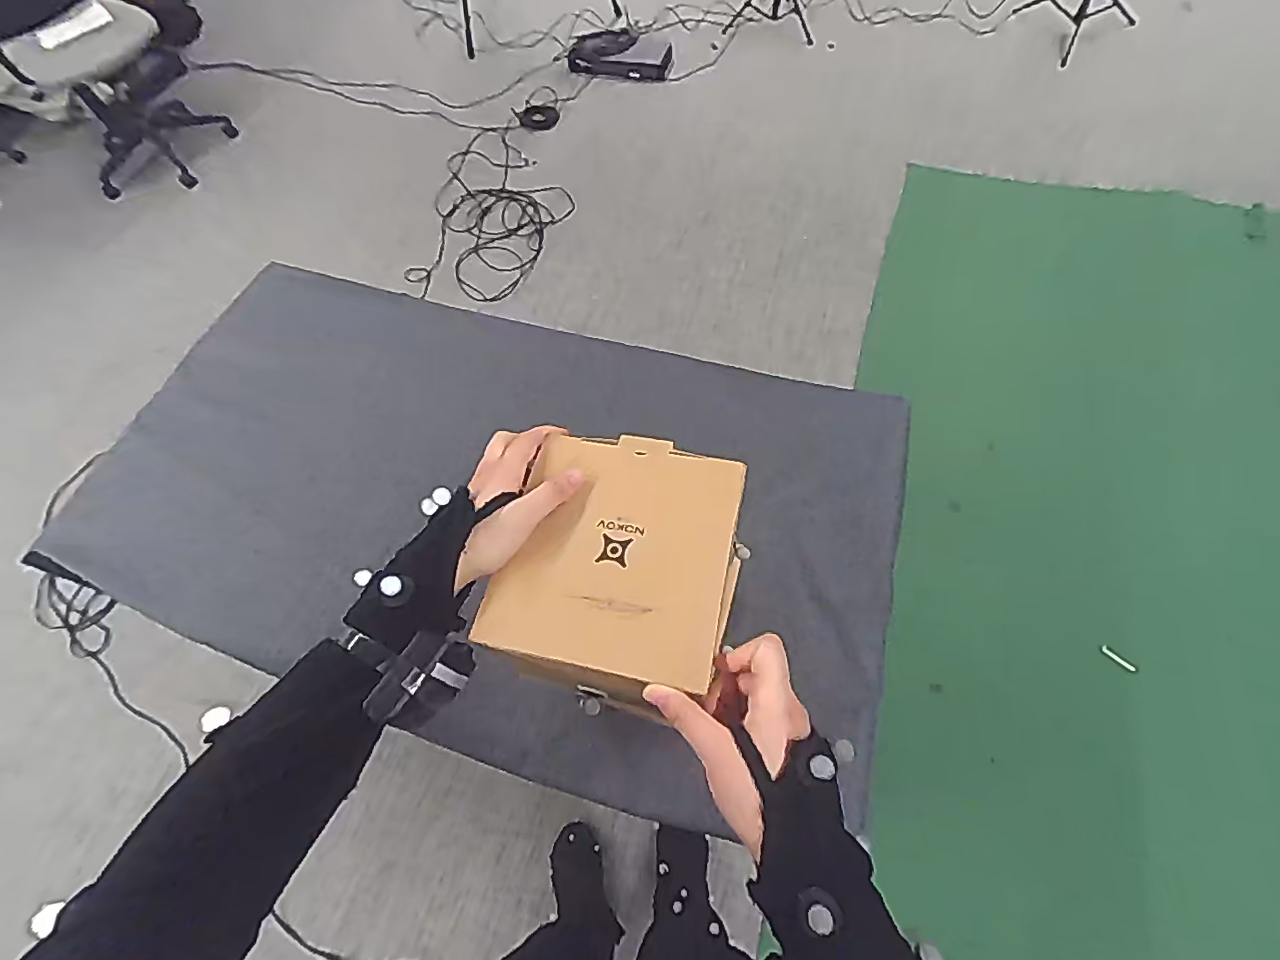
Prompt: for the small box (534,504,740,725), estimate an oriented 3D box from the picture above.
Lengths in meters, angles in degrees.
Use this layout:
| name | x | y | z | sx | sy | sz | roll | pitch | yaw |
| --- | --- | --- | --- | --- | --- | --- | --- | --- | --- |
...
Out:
| name | x | y | z | sx | sy | sz | roll | pitch | yaw |
| --- | --- | --- | --- | --- | --- | --- | --- | --- | --- |
| small box | 0.007 | 0.156 | 0.603 | 0.168 | 0.176 | 0.179 | 14 | 62 | 12 |
